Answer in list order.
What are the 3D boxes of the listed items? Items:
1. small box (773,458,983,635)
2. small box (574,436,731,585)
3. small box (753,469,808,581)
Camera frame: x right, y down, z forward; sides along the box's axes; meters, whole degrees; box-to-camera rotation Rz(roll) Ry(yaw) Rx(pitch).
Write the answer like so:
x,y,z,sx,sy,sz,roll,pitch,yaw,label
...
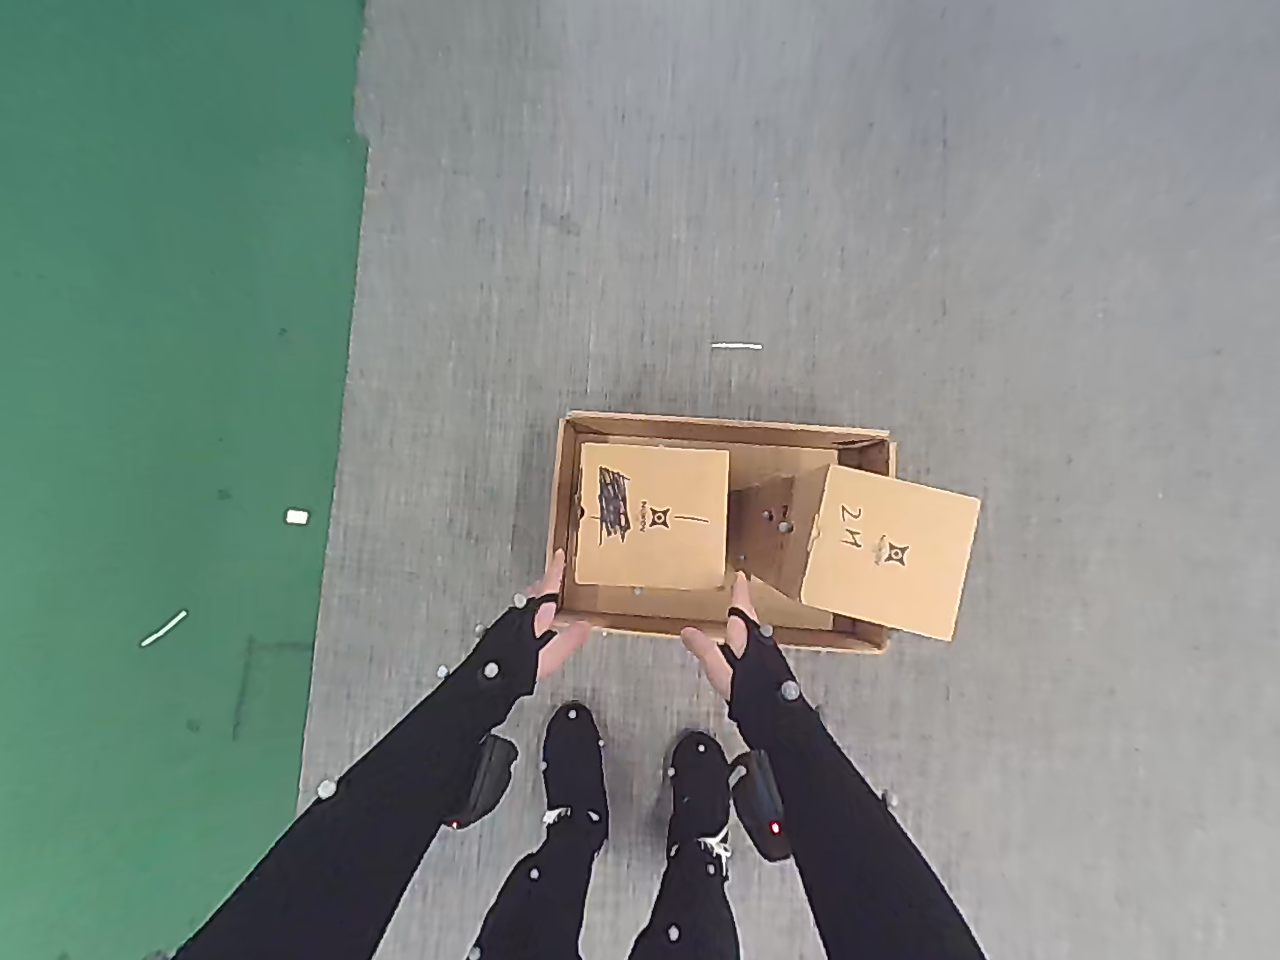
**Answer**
x,y,z,sx,sy,sz,roll,pitch,yaw,label
0.285,0.079,0.685,0.179,0.176,0.168,14,86,5,small box
0.017,0.043,0.706,0.179,0.176,0.168,3,84,0,small box
0.284,0.079,0.852,0.179,0.176,0.168,6,85,4,small box
